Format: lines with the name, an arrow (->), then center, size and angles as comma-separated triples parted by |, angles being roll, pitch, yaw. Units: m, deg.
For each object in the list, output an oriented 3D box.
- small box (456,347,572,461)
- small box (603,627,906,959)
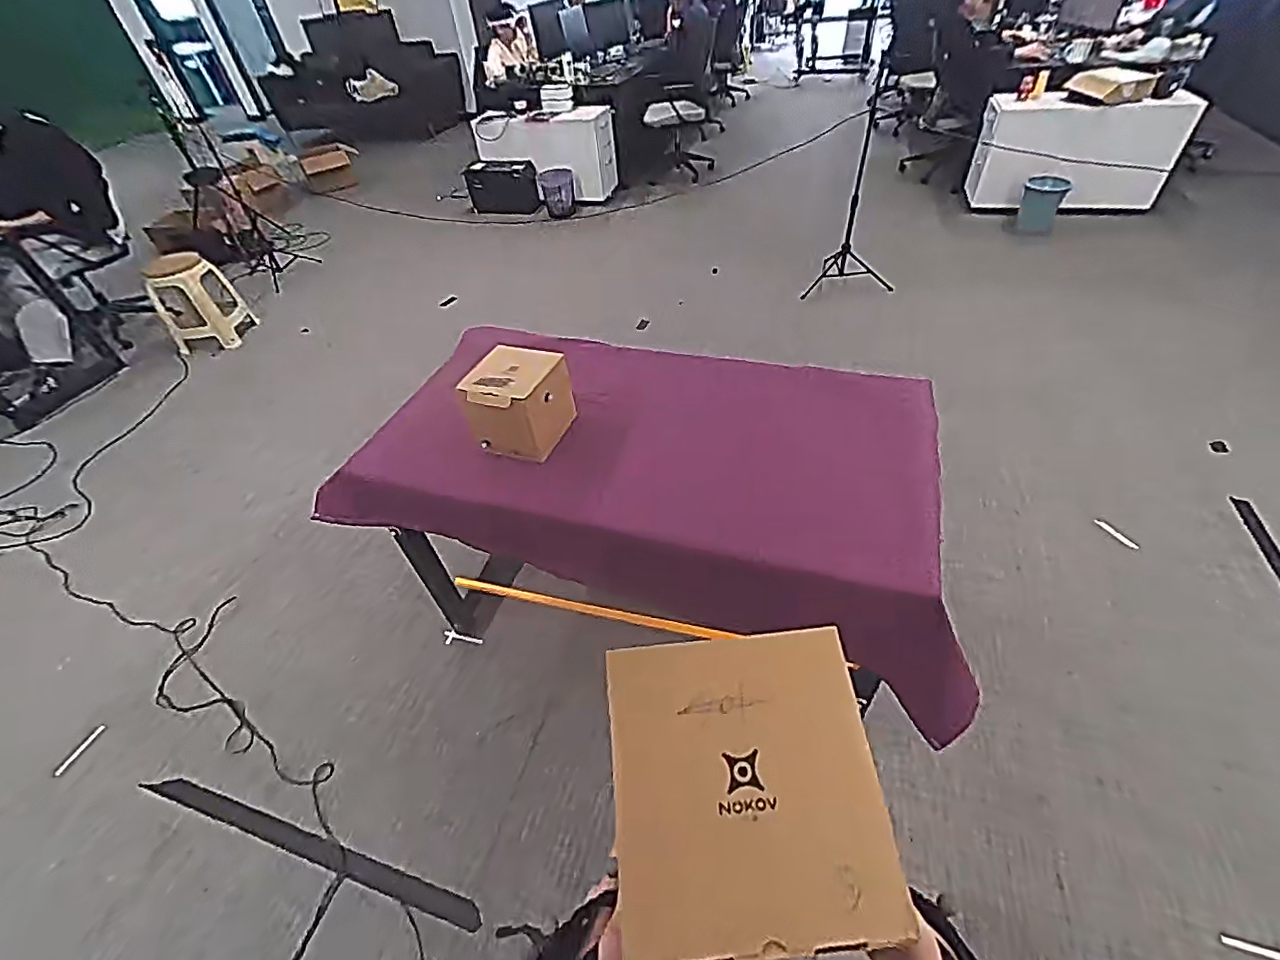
small box -> -0.261, -0.164, 1.173 | 0.168, 0.176, 0.179 | 12, 47, 17
small box -> 0.065, 0.225, 0.408 | 0.168, 0.176, 0.179 | -5, 59, -1
